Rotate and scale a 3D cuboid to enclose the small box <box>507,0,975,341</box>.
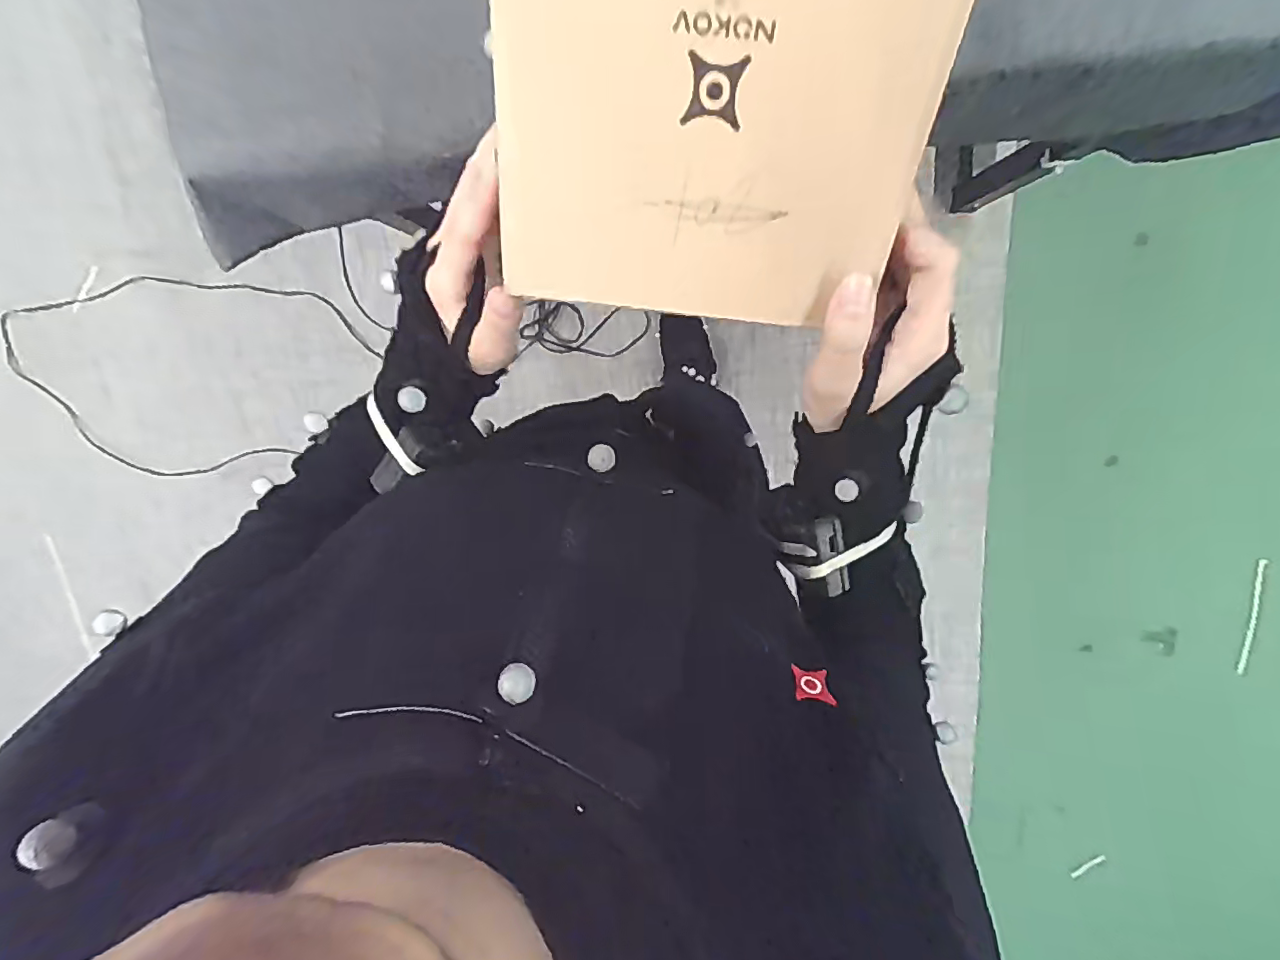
[{"bbox_3d":[0.035,-0.190,0.272,0.168,0.176,0.179,7,124,-1],"label":"small box"}]
